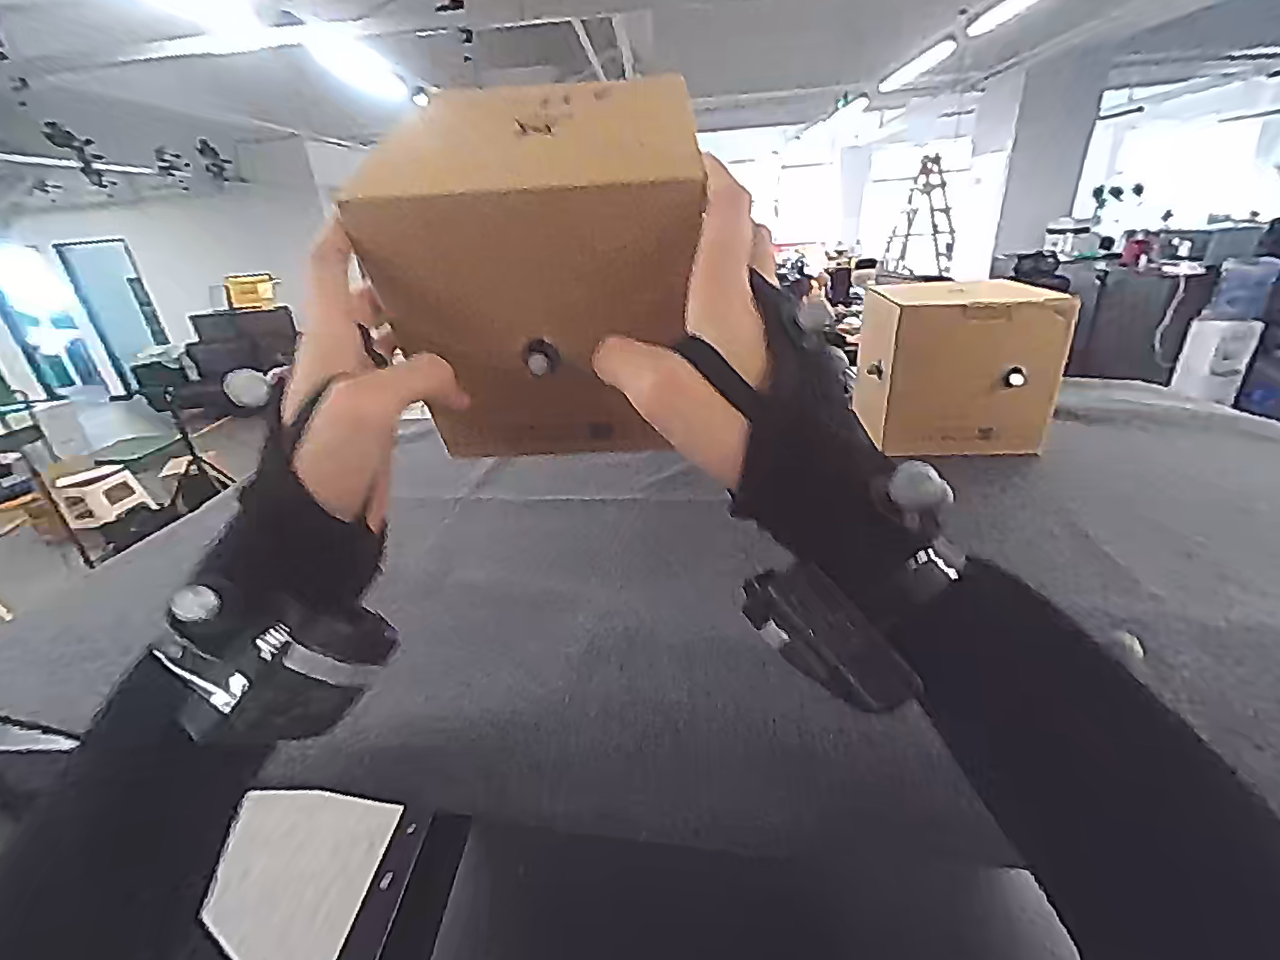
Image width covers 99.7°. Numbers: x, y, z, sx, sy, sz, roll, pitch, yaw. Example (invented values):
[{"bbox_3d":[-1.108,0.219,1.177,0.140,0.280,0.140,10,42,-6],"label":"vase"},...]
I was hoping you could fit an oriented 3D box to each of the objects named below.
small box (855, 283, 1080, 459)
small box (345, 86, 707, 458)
[{"bbox_3d":[0.361,-0.130,0.637,0.168,0.176,0.179,1,25,9],"label":"small box"},{"bbox_3d":[-0.044,-0.126,0.348,0.168,0.176,0.179,-2,47,2],"label":"small box"}]
